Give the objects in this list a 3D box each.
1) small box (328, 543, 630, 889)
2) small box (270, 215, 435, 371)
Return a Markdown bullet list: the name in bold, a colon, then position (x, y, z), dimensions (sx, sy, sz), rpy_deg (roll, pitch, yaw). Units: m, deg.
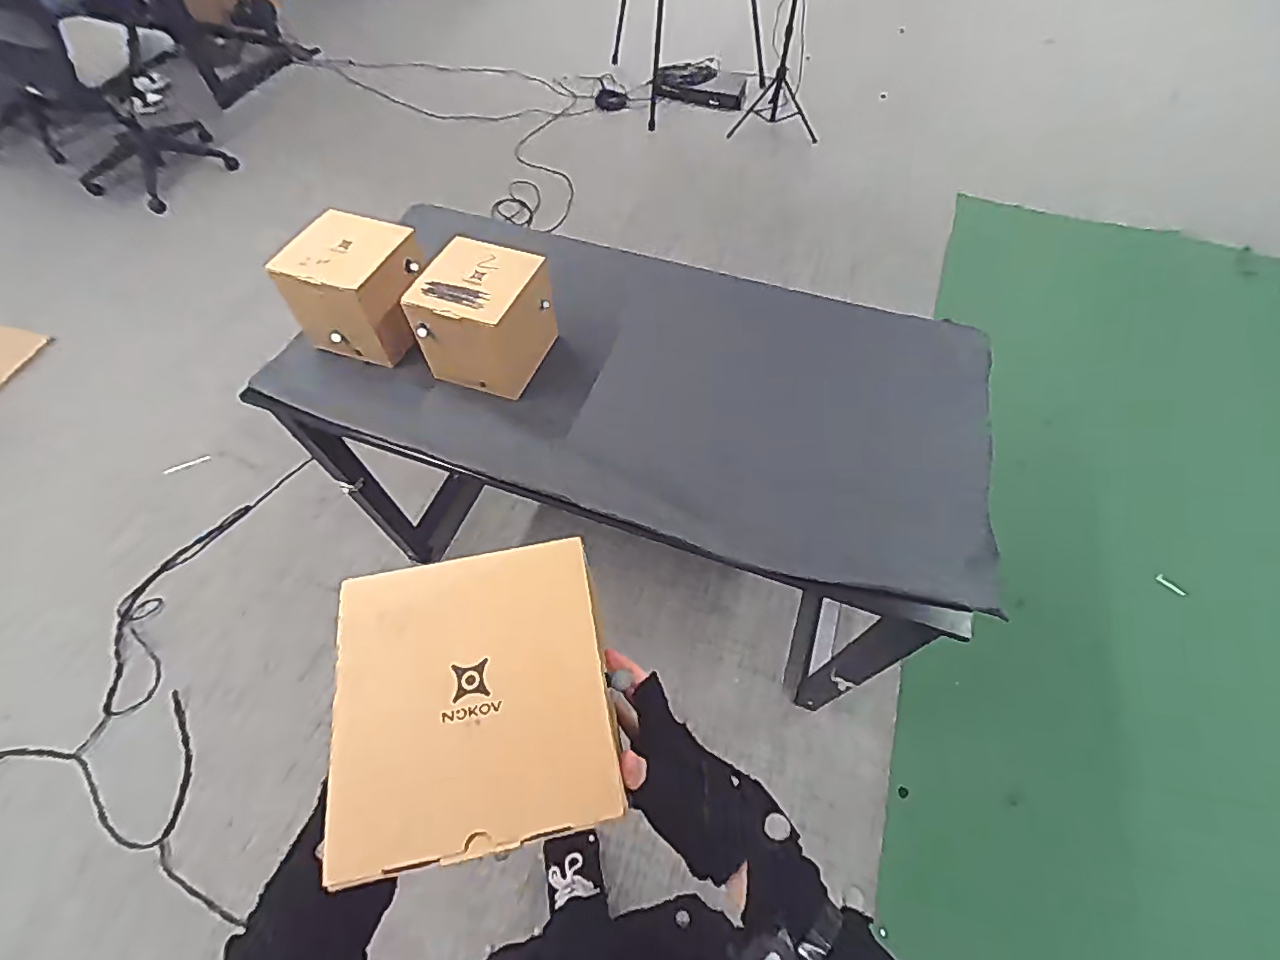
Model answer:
- **small box**: position (-0.105, 0.169, 0.405), dimensions (0.168, 0.176, 0.179), rpy_deg (-10, 63, -7)
- **small box**: position (-0.482, -0.324, 0.945), dimensions (0.168, 0.176, 0.179), rpy_deg (16, 58, 8)
